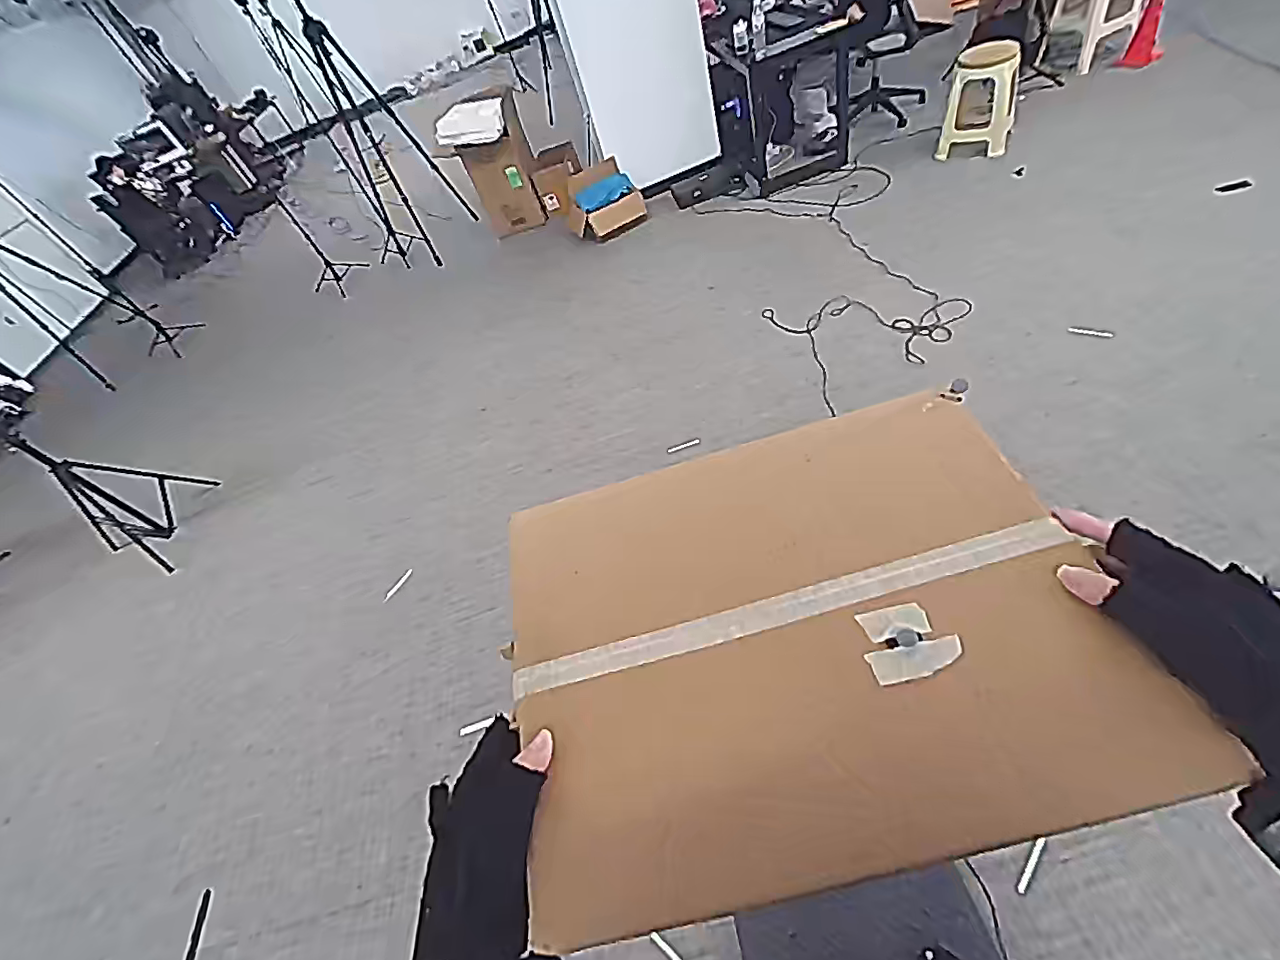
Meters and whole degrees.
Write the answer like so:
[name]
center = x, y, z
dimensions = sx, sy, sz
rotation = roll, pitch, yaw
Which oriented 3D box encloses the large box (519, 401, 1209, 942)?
[large box]
center = 0.136, 0.188, 0.521
dimensions = 0.408, 0.320, 0.320
rotation = -17, 52, 3
